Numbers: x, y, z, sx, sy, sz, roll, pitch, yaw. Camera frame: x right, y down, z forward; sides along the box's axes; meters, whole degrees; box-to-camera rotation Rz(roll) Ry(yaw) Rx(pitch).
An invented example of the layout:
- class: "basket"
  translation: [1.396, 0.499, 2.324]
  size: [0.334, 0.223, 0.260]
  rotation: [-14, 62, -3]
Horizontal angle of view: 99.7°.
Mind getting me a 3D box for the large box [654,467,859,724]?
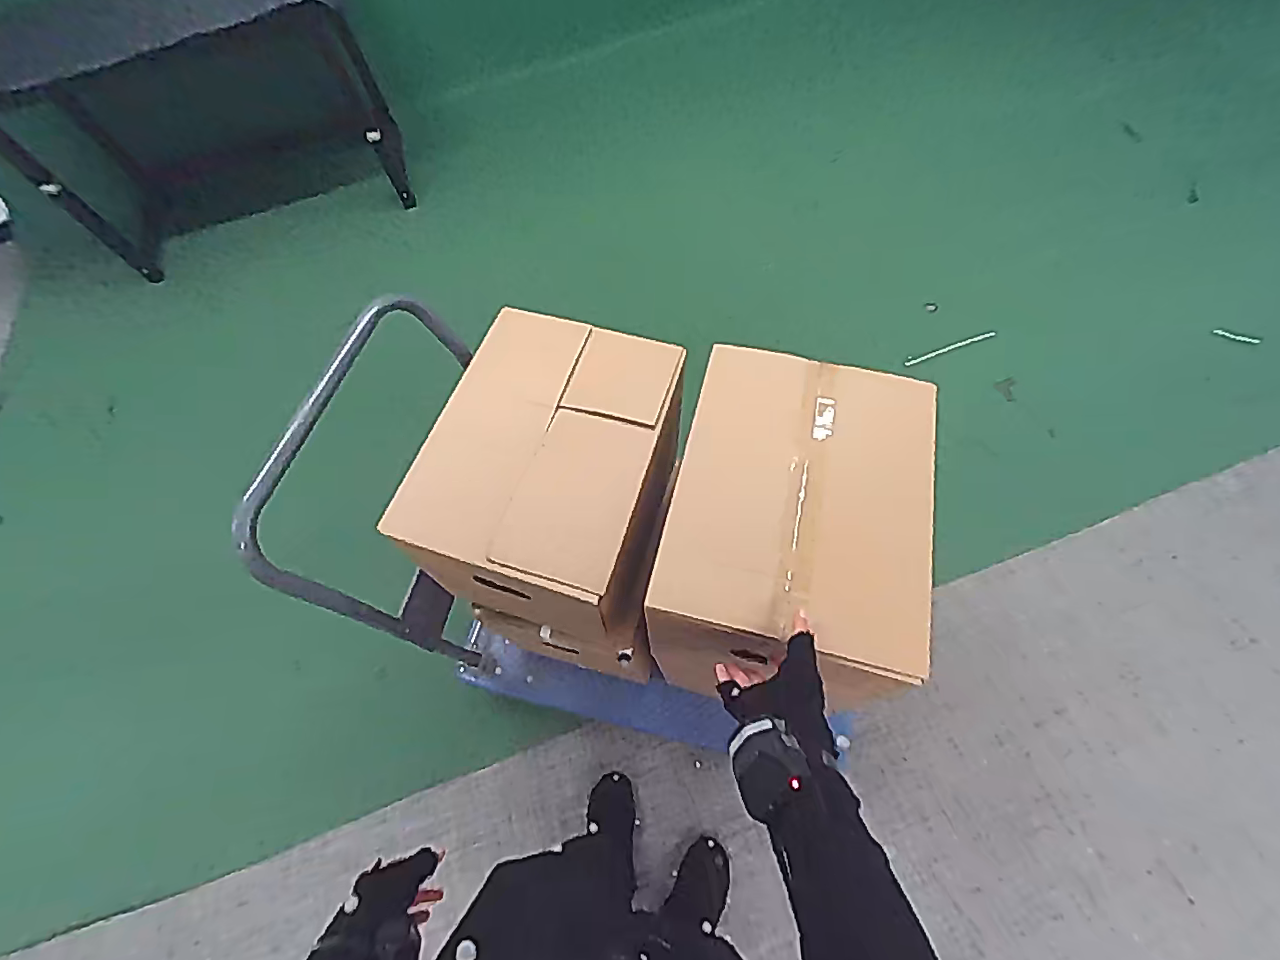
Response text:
- class: "large box"
  translation: [0.236, 0.236, 1.096]
  size: [0.320, 0.320, 0.408]
  rotation: [10, 64, 15]
